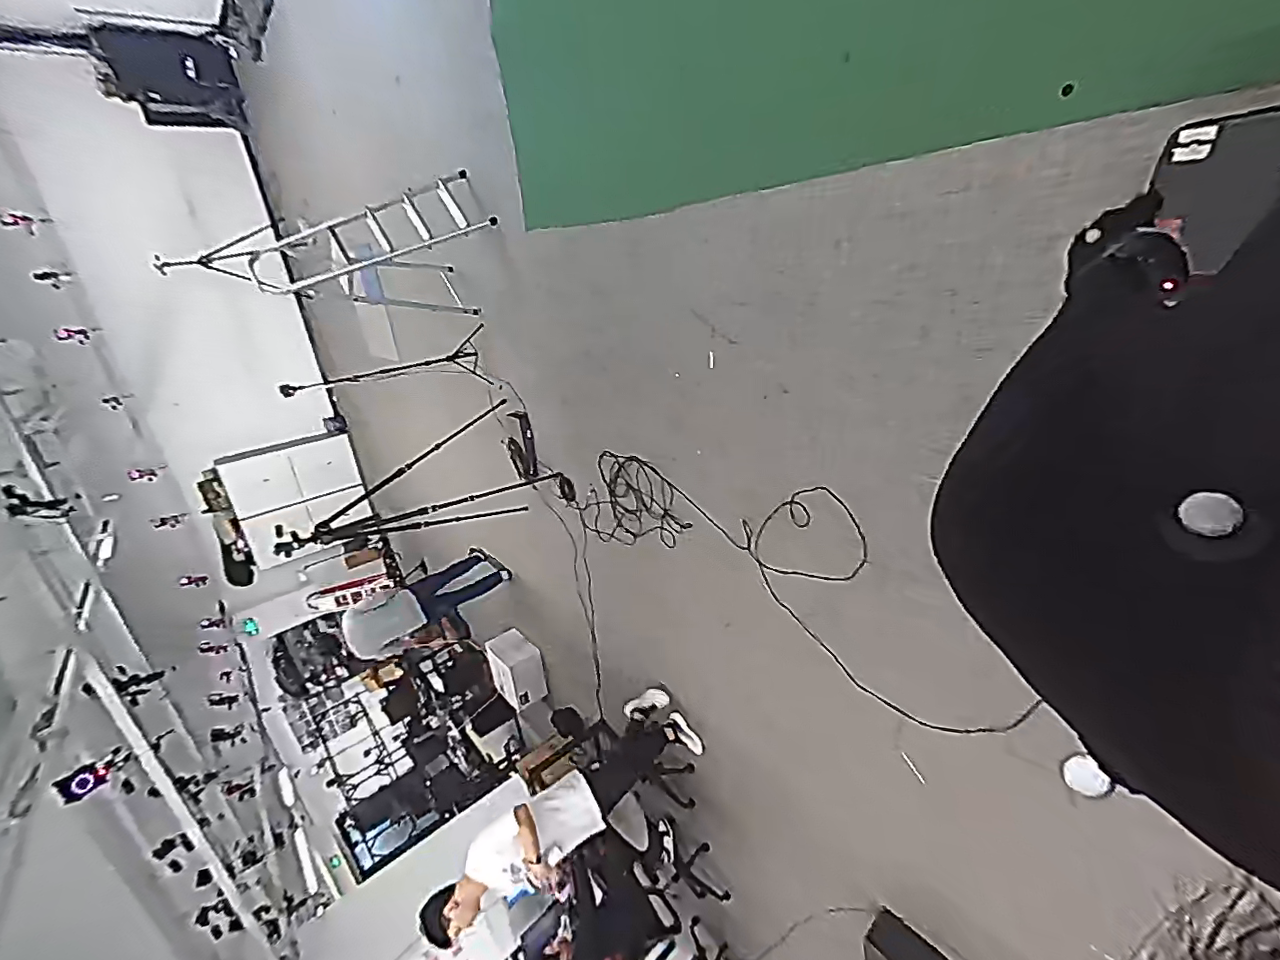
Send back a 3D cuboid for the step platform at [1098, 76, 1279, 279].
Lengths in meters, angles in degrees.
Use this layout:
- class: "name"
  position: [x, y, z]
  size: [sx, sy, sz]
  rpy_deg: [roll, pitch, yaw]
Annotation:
- class: "step platform"
  position: [1.104, -0.458, 0.754]
  size: [0.684, 0.204, 0.286]
  rpy_deg: [19, 124, 48]
